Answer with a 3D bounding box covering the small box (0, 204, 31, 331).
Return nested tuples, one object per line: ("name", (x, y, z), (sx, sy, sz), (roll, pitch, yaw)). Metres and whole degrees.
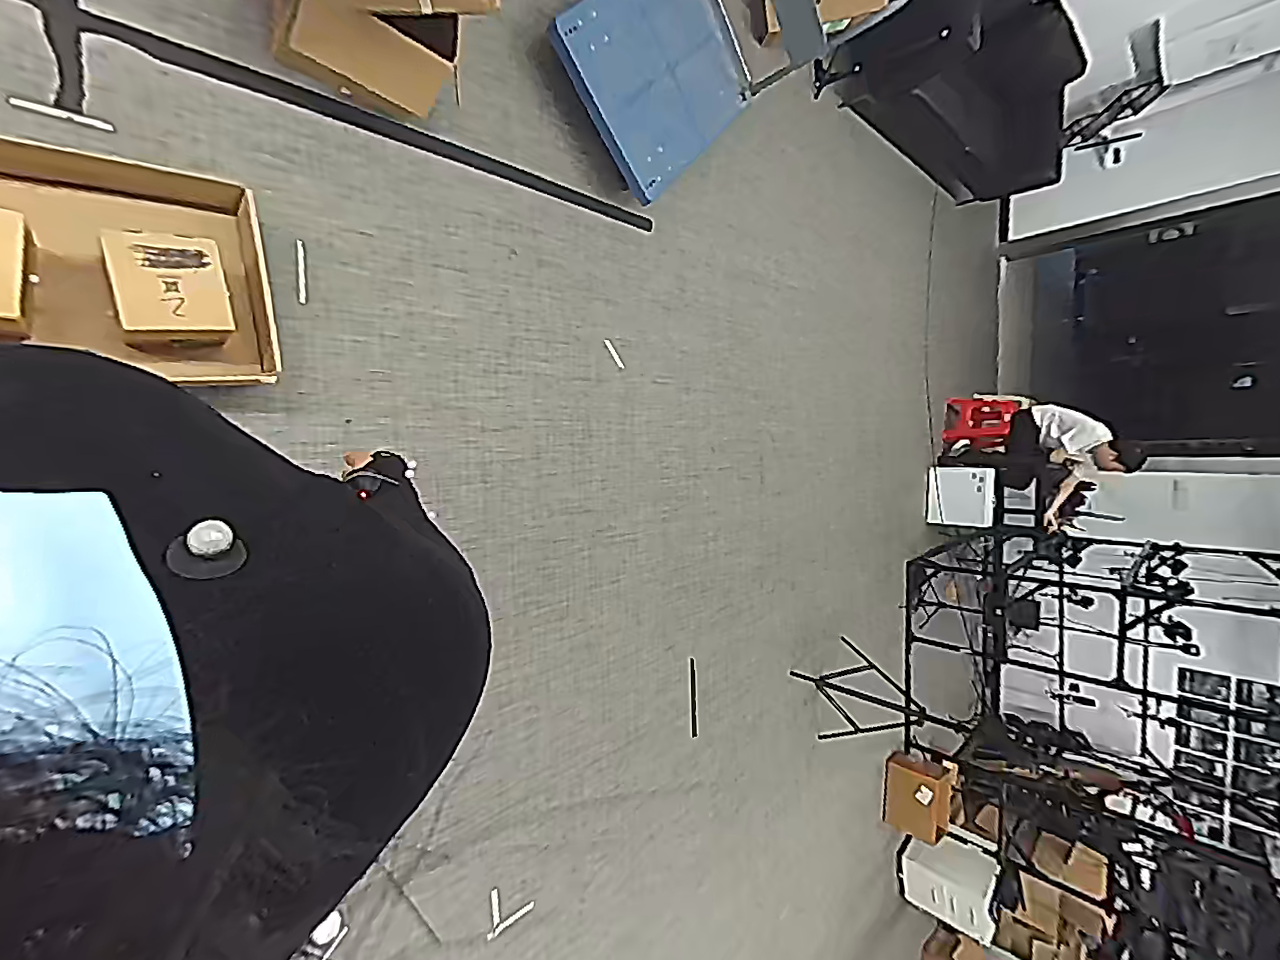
("small box", (-1.113, -0.356, 0.870), (0.168, 0.176, 0.179), (3, 90, -45))
